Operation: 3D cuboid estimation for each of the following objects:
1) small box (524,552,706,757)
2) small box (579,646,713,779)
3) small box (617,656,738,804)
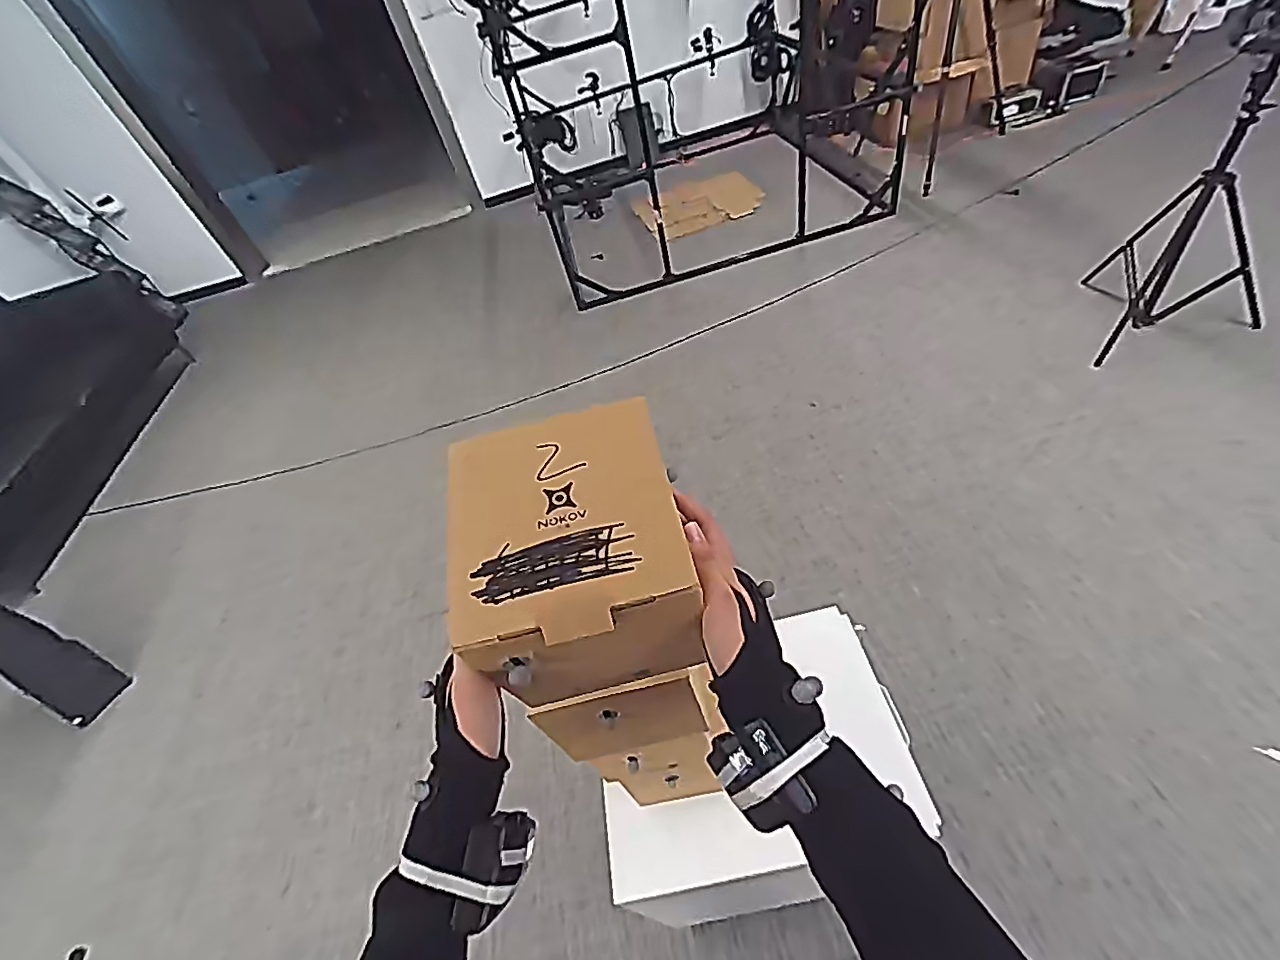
[{"bbox_3d":[-0.028,0.218,0.662,0.179,0.176,0.168,-14,46,3],"label":"small box"},{"bbox_3d":[0.005,0.318,0.789,0.168,0.176,0.179,-12,45,5],"label":"small box"},{"bbox_3d":[0.056,0.422,0.904,0.179,0.176,0.168,-13,46,3],"label":"small box"}]
